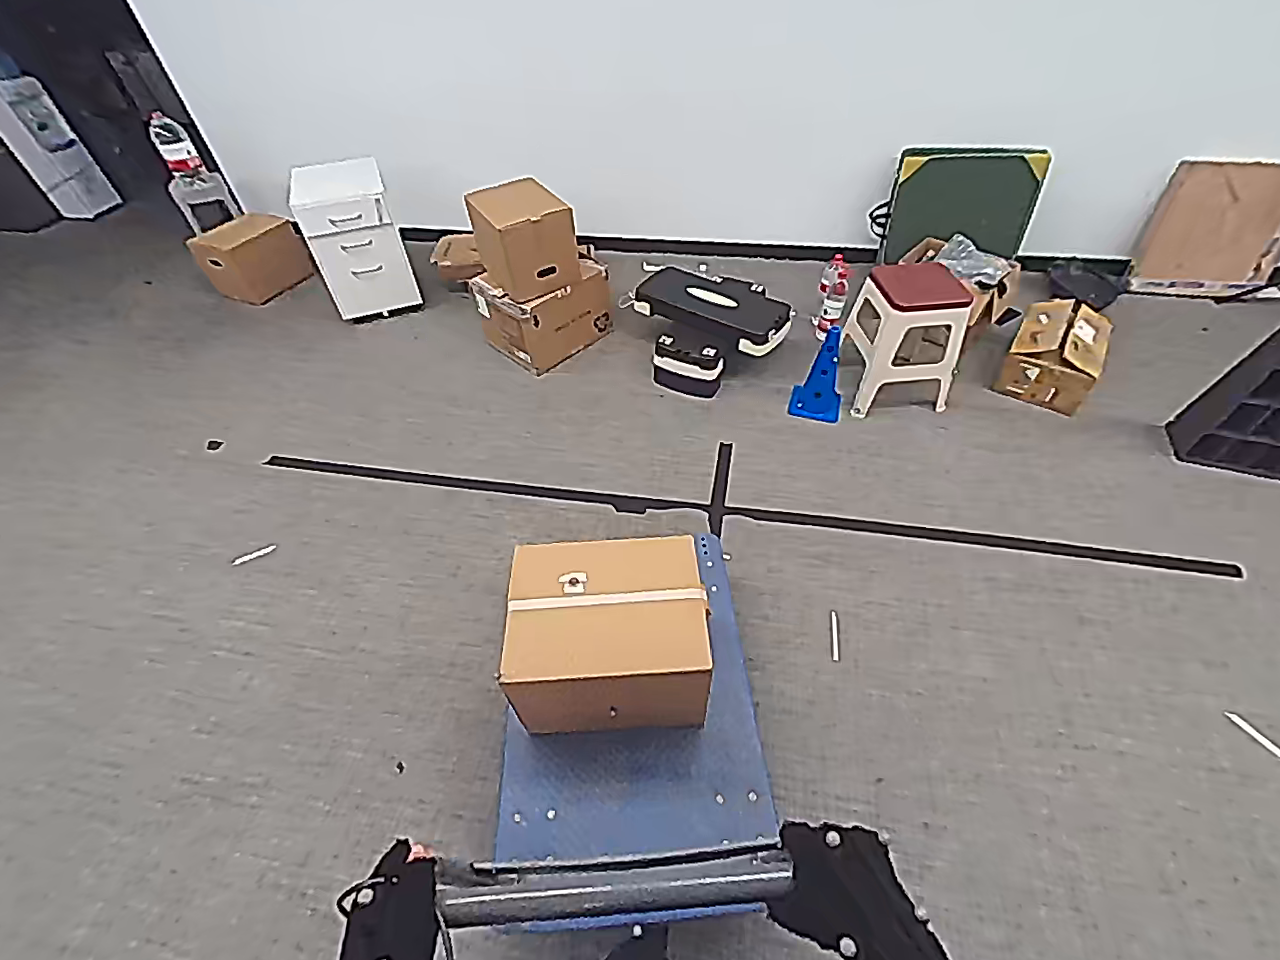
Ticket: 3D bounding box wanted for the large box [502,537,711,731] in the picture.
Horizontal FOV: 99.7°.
[{"bbox_3d":[-0.065,0.355,1.225,0.408,0.320,0.320,-4,48,0],"label":"large box"}]
